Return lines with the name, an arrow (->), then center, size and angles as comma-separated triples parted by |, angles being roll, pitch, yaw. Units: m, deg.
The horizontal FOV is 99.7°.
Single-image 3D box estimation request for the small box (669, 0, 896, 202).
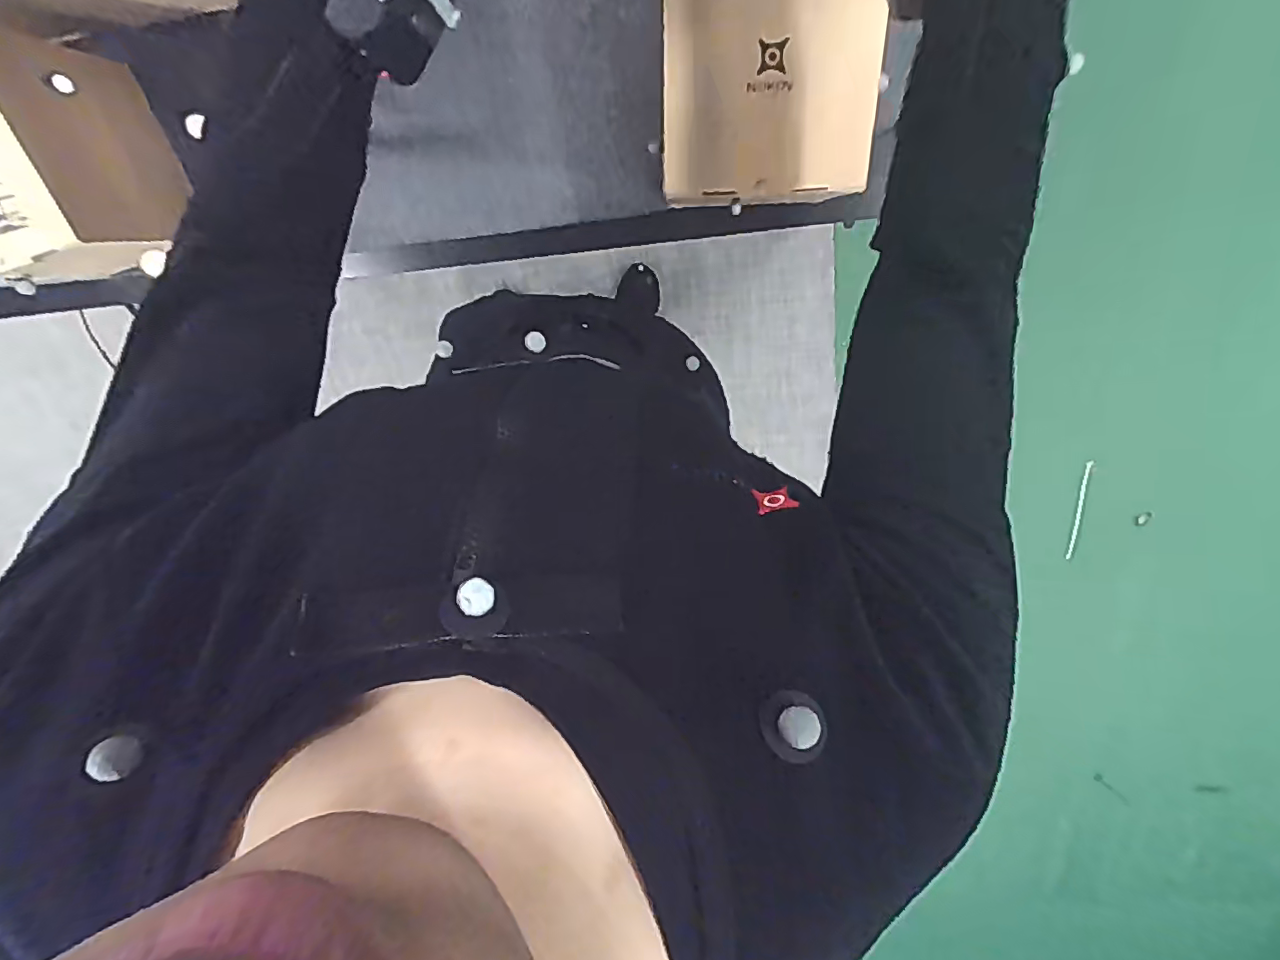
small box -> 0.109, -0.352, 0.483 | 0.168, 0.176, 0.179 | 0, 116, 4
